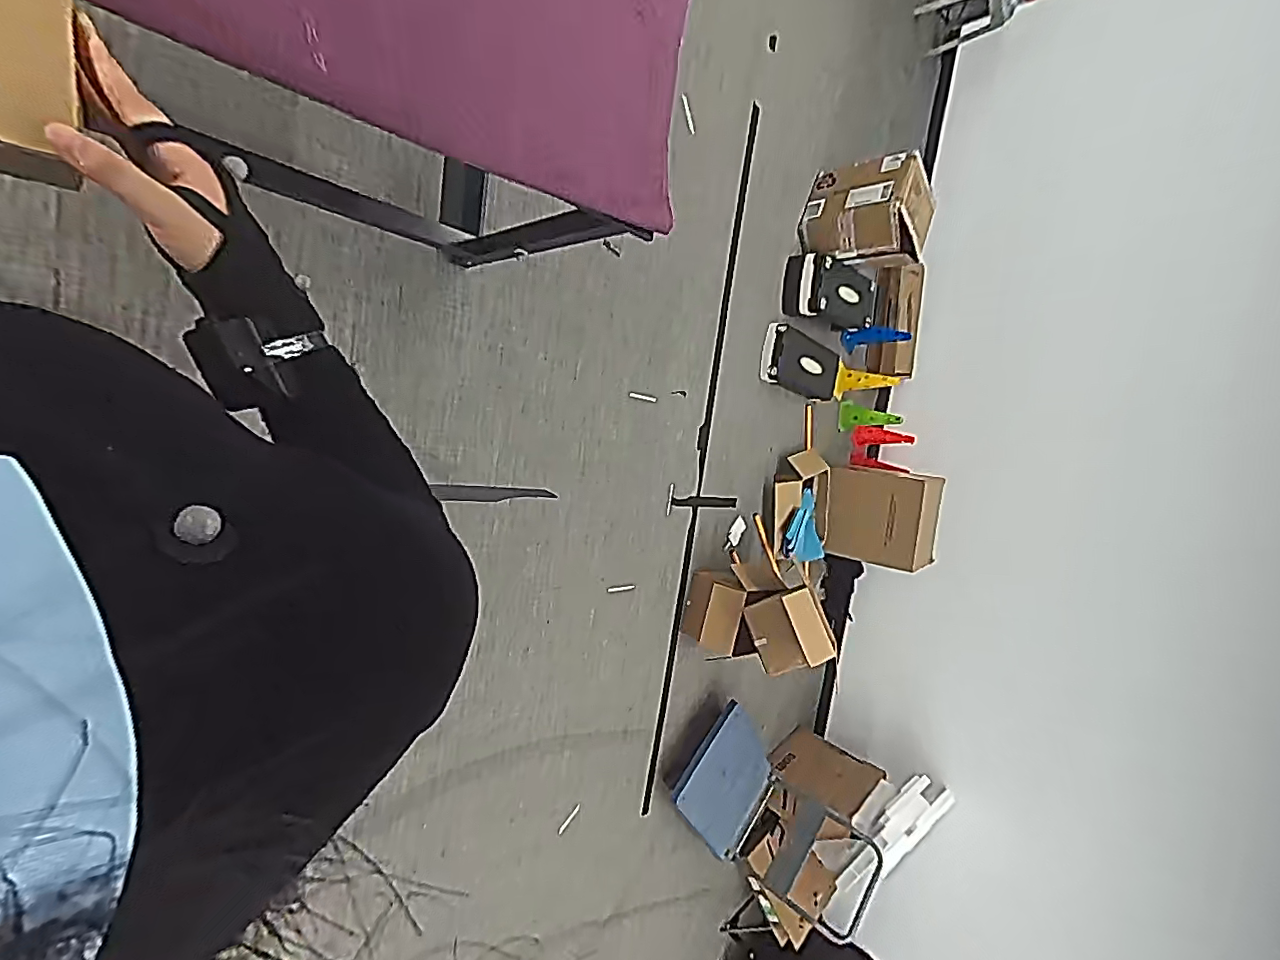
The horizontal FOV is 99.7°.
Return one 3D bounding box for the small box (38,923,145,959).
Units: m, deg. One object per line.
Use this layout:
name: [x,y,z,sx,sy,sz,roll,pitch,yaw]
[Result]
small box: [-1.152,1.085,1.130,0.168,0.176,0.179,-1,101,-45]
